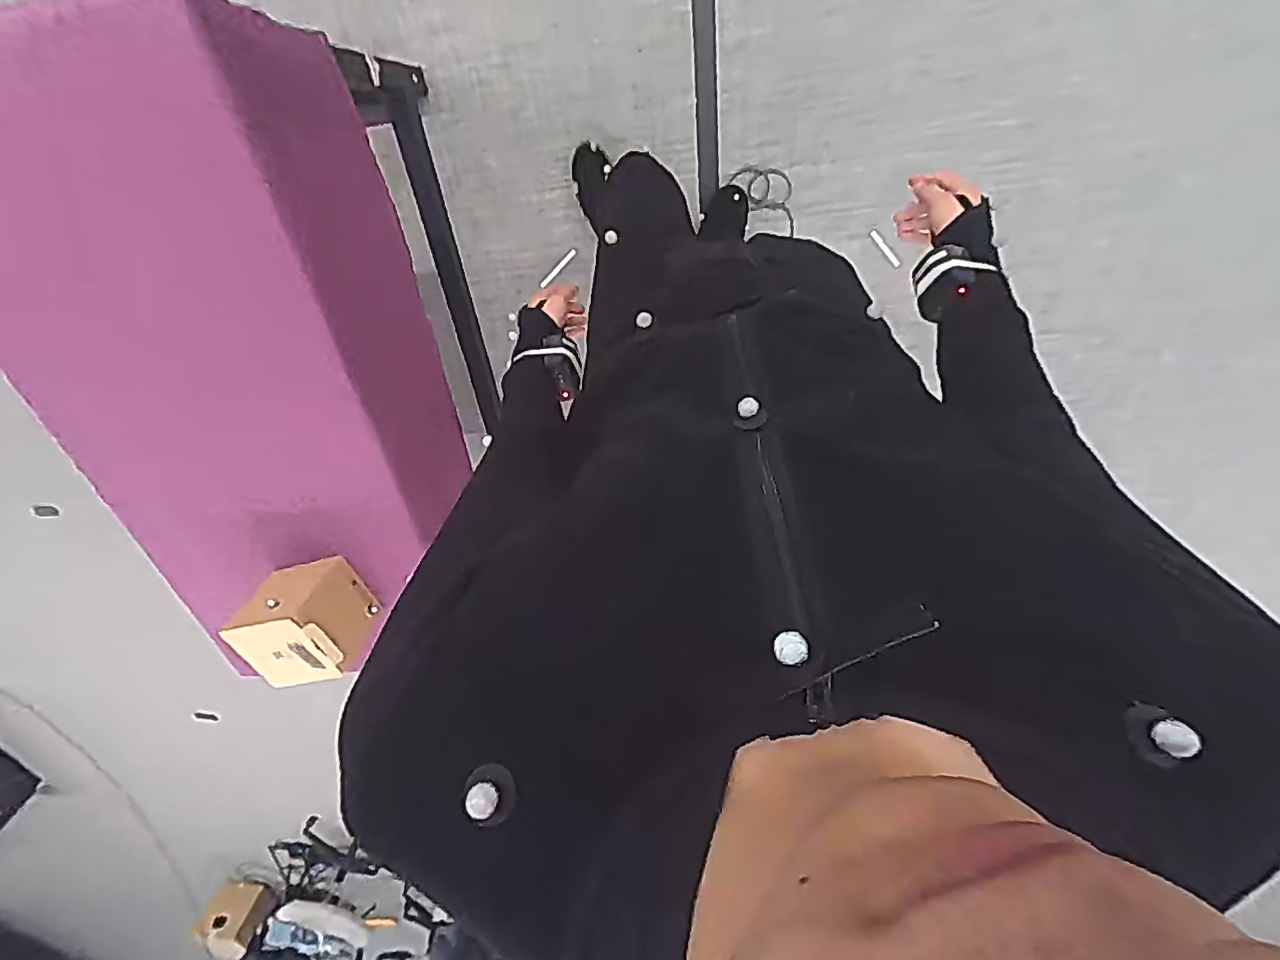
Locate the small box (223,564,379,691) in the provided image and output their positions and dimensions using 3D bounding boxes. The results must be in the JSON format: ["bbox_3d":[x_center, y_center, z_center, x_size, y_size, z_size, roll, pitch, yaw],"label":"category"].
[{"bbox_3d":[-0.658,0.289,1.082,0.179,0.176,0.168,-14,119,13],"label":"small box"}]
